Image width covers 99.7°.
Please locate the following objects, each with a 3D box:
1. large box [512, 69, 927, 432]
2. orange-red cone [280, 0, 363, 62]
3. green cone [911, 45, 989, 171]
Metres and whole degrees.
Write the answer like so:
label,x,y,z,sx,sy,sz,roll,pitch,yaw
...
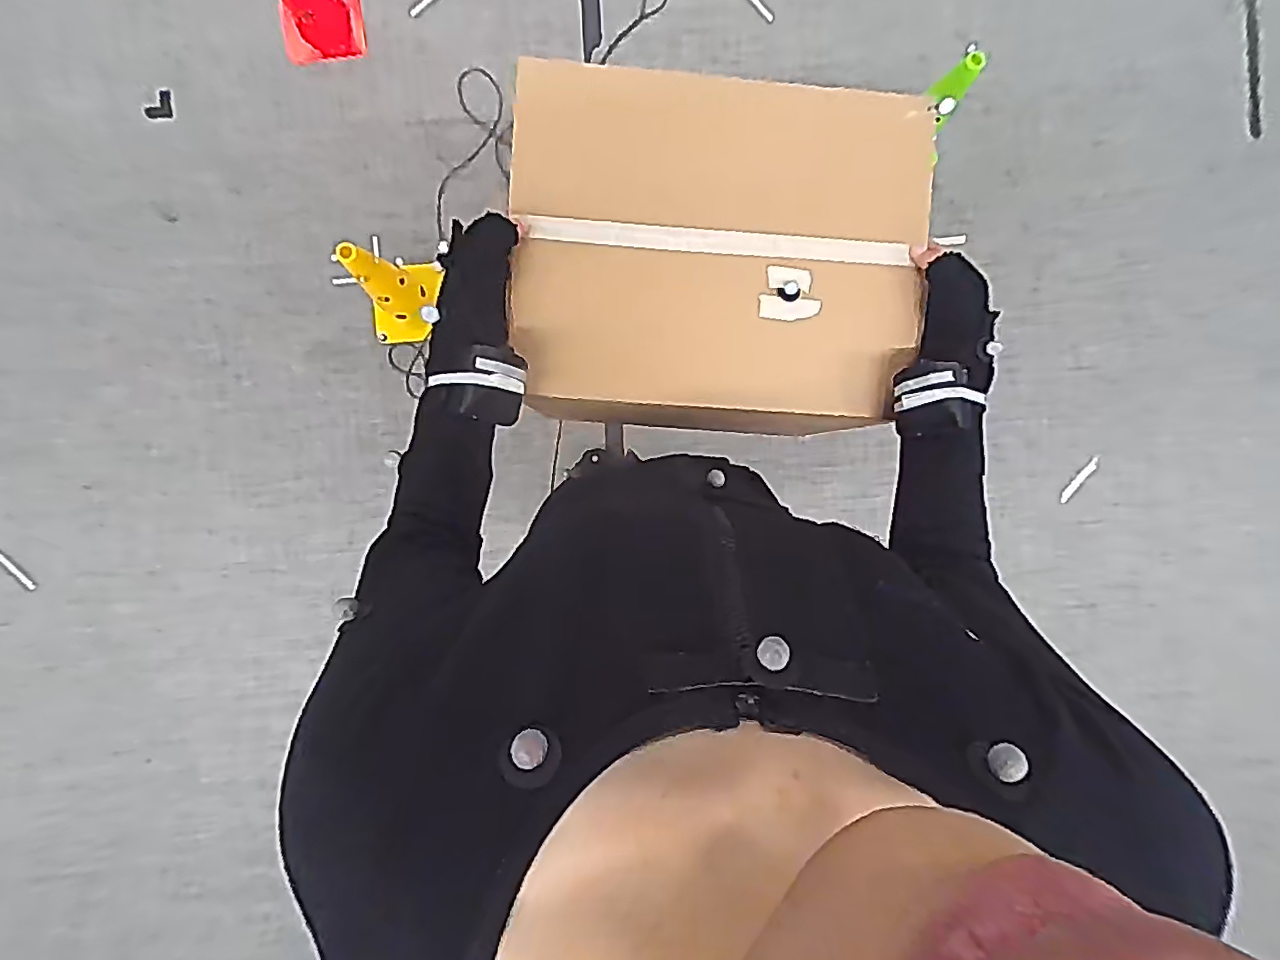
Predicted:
label,x,y,z,sx,sy,sz,roll,pitch,yaw
large box,0.070,-0.232,0.673,0.408,0.320,0.320,3,92,-4
orange-red cone,-0.815,-1.177,1.224,0.198,0.360,0.199,-7,94,-1
green cone,0.692,-0.882,1.298,0.202,0.368,0.200,-42,94,-2
